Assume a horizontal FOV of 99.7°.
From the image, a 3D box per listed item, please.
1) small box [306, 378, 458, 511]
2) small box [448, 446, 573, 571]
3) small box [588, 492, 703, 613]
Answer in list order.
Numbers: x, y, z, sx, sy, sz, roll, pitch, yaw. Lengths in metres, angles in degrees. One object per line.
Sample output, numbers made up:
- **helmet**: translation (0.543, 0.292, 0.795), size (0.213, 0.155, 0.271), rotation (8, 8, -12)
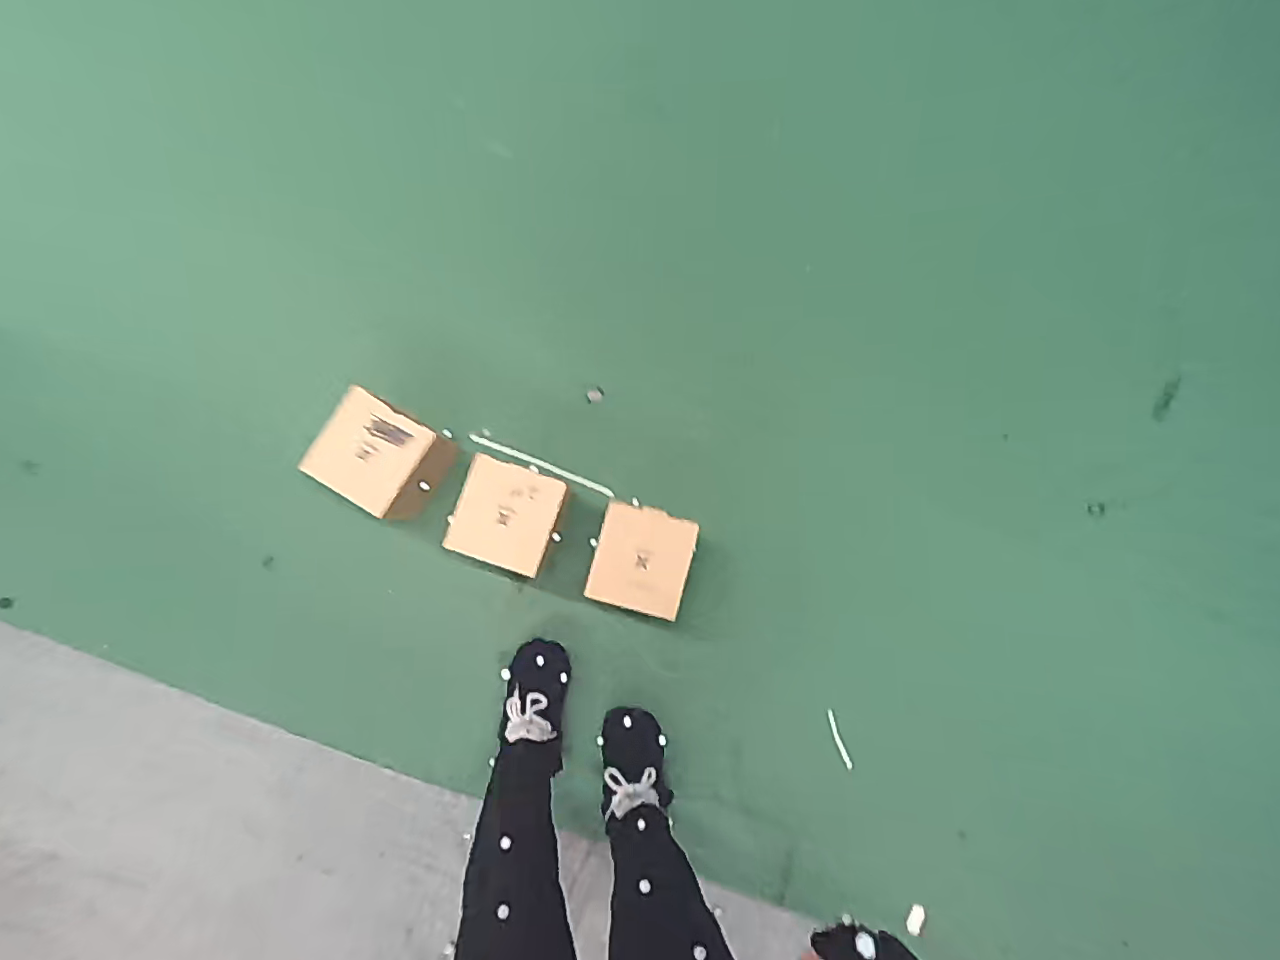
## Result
- **small box**: translation (-0.463, -0.058, 1.008), size (0.168, 0.176, 0.179), rotation (32, 85, 1)
- **small box**: translation (-0.230, 0.054, 1.011), size (0.168, 0.176, 0.179), rotation (20, 84, -2)
- **small box**: translation (0.005, 0.134, 1.020), size (0.168, 0.176, 0.179), rotation (17, 84, -1)
